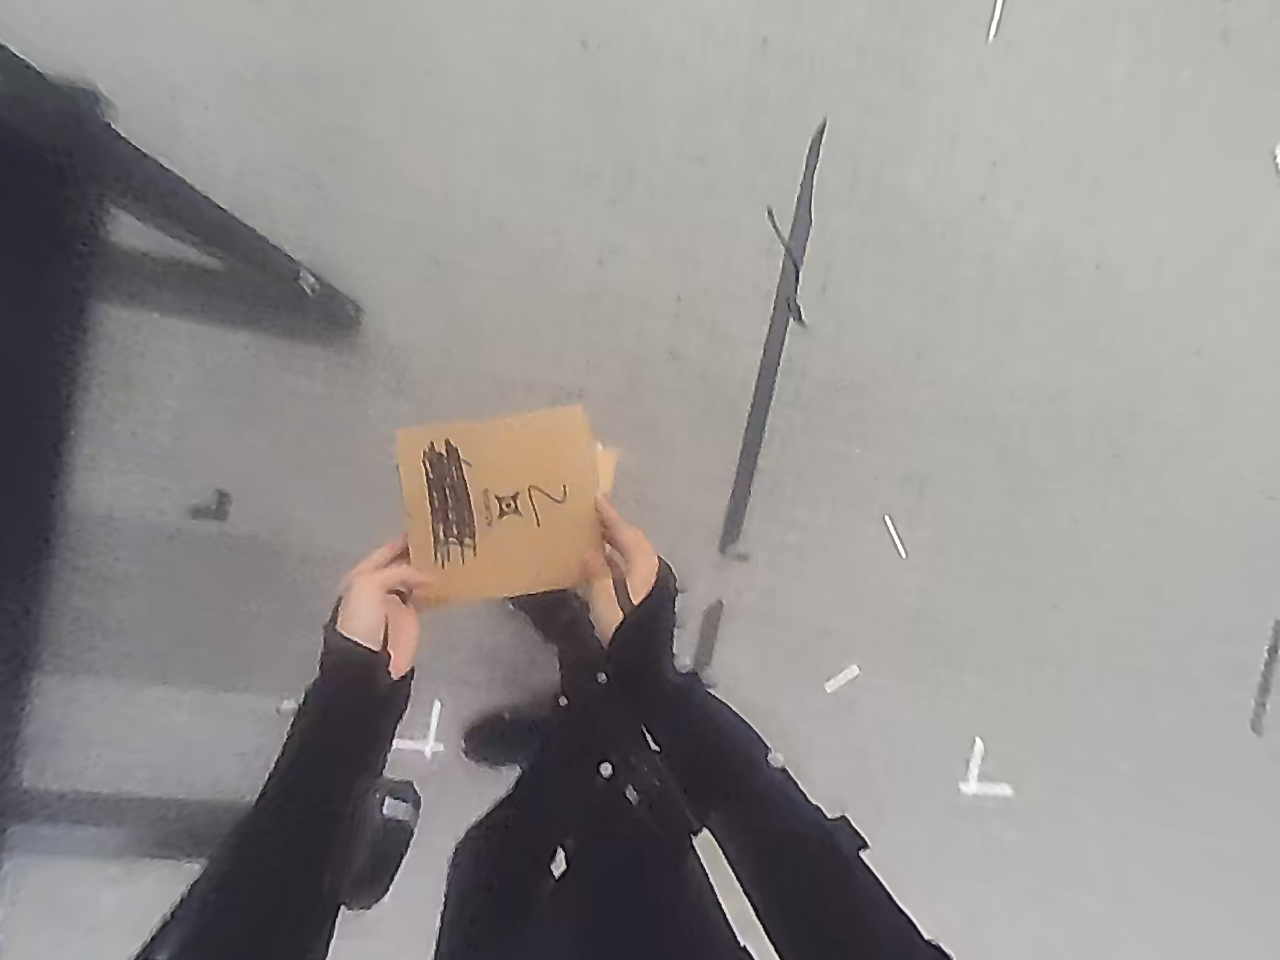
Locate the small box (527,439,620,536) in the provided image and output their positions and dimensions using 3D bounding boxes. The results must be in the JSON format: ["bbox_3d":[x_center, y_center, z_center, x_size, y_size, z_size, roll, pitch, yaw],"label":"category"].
[{"bbox_3d":[-0.148,0.011,1.162,0.168,0.176,0.179,9,93,-11],"label":"small box"}]
